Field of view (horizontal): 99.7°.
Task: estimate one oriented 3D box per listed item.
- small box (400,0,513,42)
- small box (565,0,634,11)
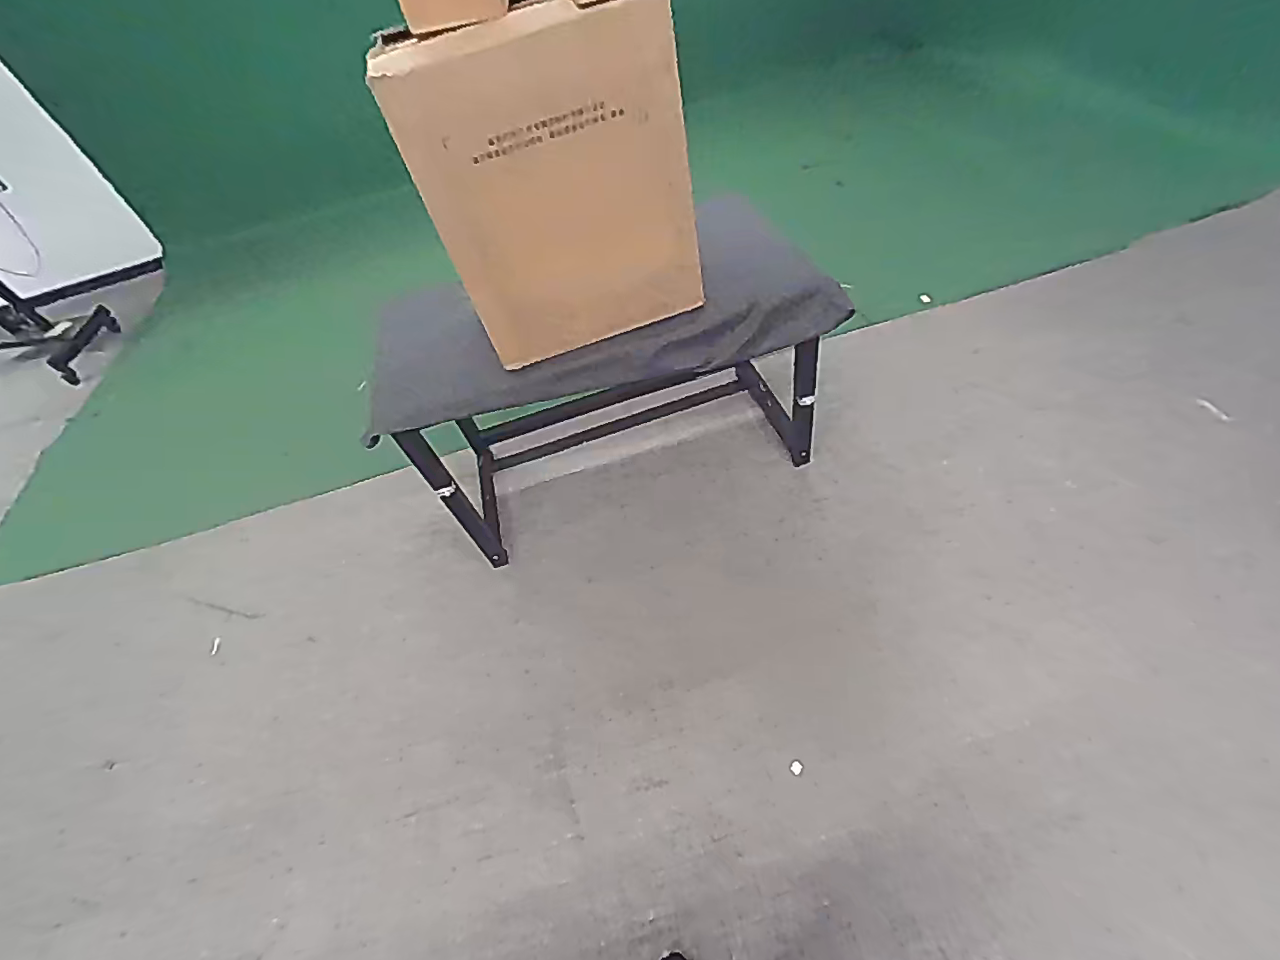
[{"bbox_3d":[-0.338,-0.908,0.948,0.179,0.176,0.168,-8,58,6],"label":"small box"},{"bbox_3d":[-0.061,-0.919,0.906,0.168,0.176,0.179,-19,50,-3],"label":"small box"}]
